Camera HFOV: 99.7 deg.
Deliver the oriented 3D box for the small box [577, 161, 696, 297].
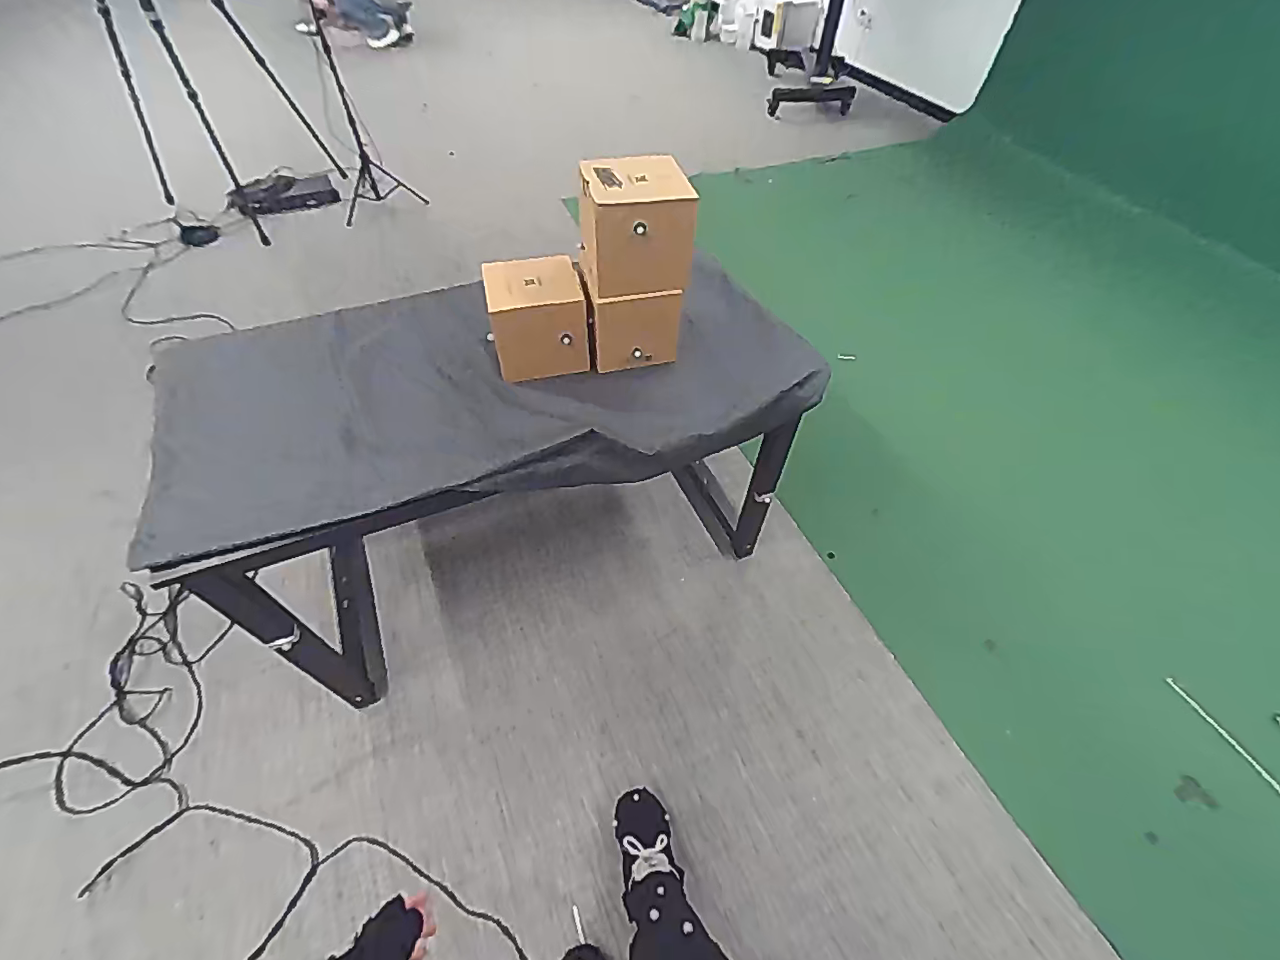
[{"bbox_3d":[-0.010,-0.450,0.981,0.179,0.176,0.168,-10,53,-10],"label":"small box"}]
